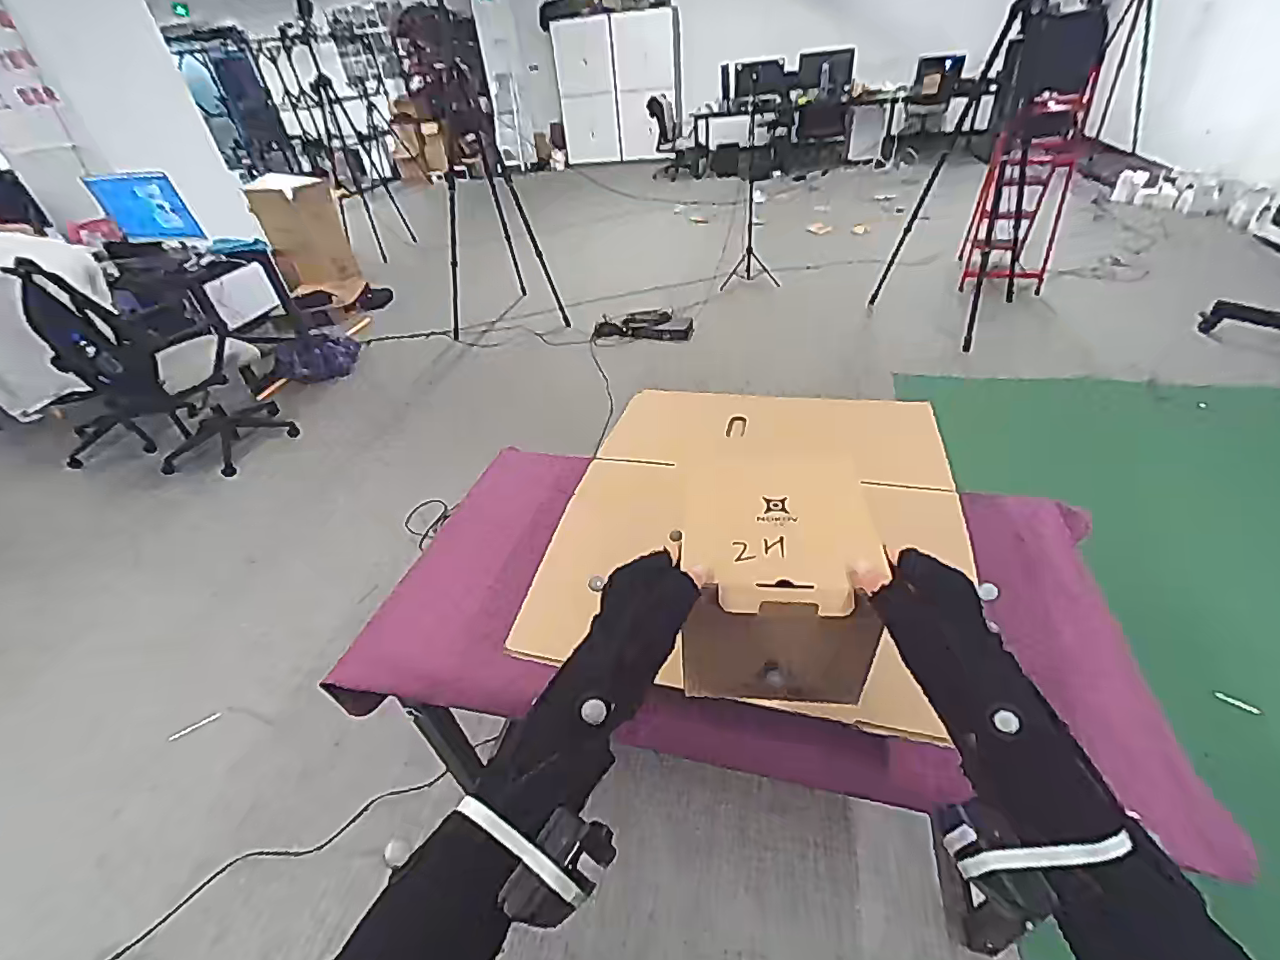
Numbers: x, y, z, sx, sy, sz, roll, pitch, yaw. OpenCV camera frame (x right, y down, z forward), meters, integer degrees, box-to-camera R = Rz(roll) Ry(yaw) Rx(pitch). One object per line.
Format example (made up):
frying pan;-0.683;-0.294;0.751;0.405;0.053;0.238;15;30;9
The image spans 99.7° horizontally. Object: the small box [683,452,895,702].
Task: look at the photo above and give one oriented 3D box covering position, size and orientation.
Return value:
small box;0.129;0.091;0.536;0.168;0.176;0.179;1;39;7
